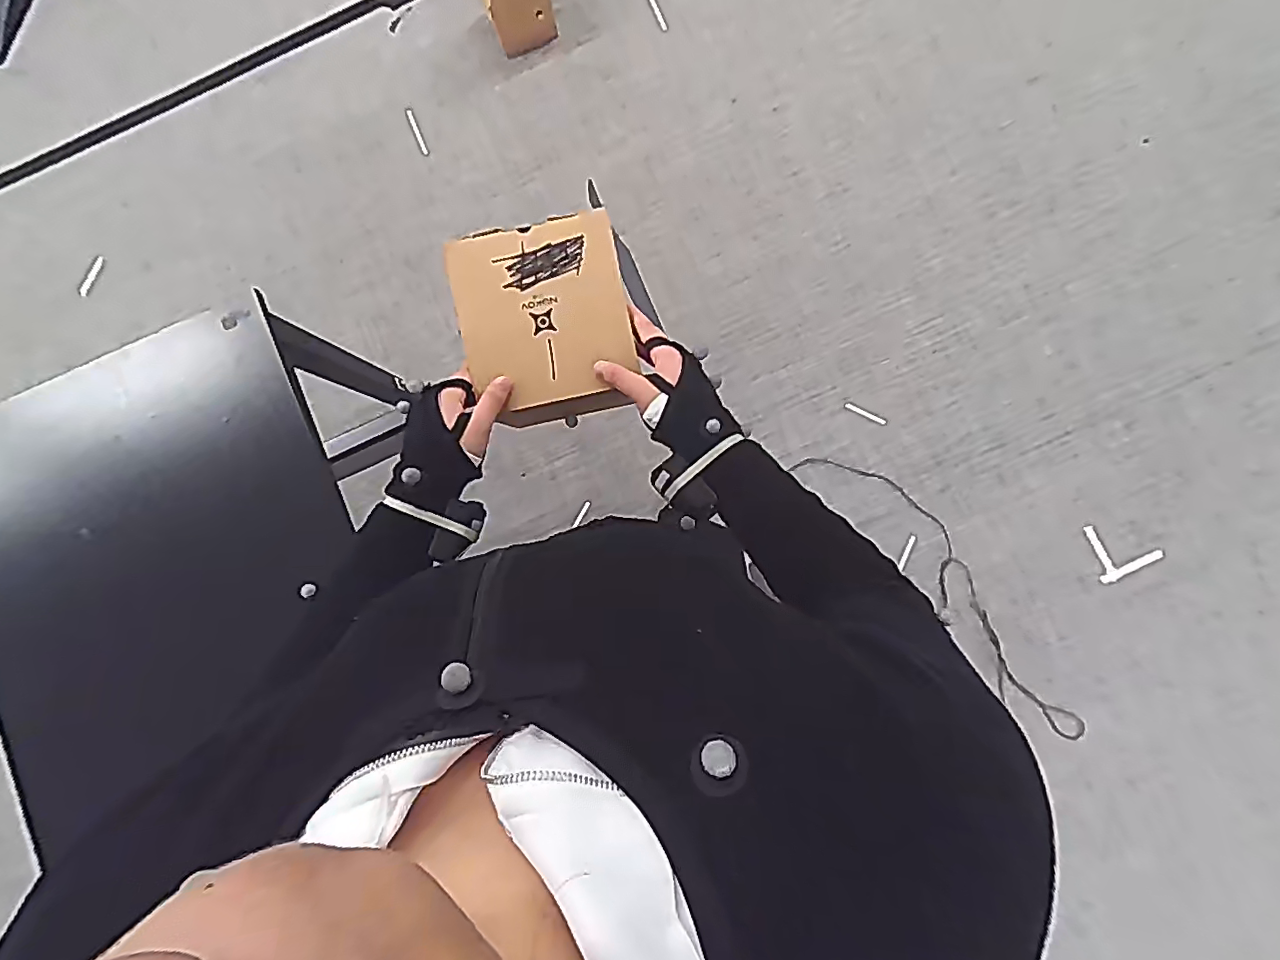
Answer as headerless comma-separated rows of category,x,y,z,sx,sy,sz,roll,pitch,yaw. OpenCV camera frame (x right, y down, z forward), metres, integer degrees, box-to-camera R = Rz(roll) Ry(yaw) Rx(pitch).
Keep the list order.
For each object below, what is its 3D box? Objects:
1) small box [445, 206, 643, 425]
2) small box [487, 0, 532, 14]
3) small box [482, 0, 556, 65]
small box,-0.094,-0.166,0.602,0.168,0.176,0.179,-12,92,1
small box,-0.360,-1.376,1.397,0.168,0.176,0.179,-26,83,0
small box,-0.354,-1.363,1.560,0.179,0.176,0.168,-24,84,2
